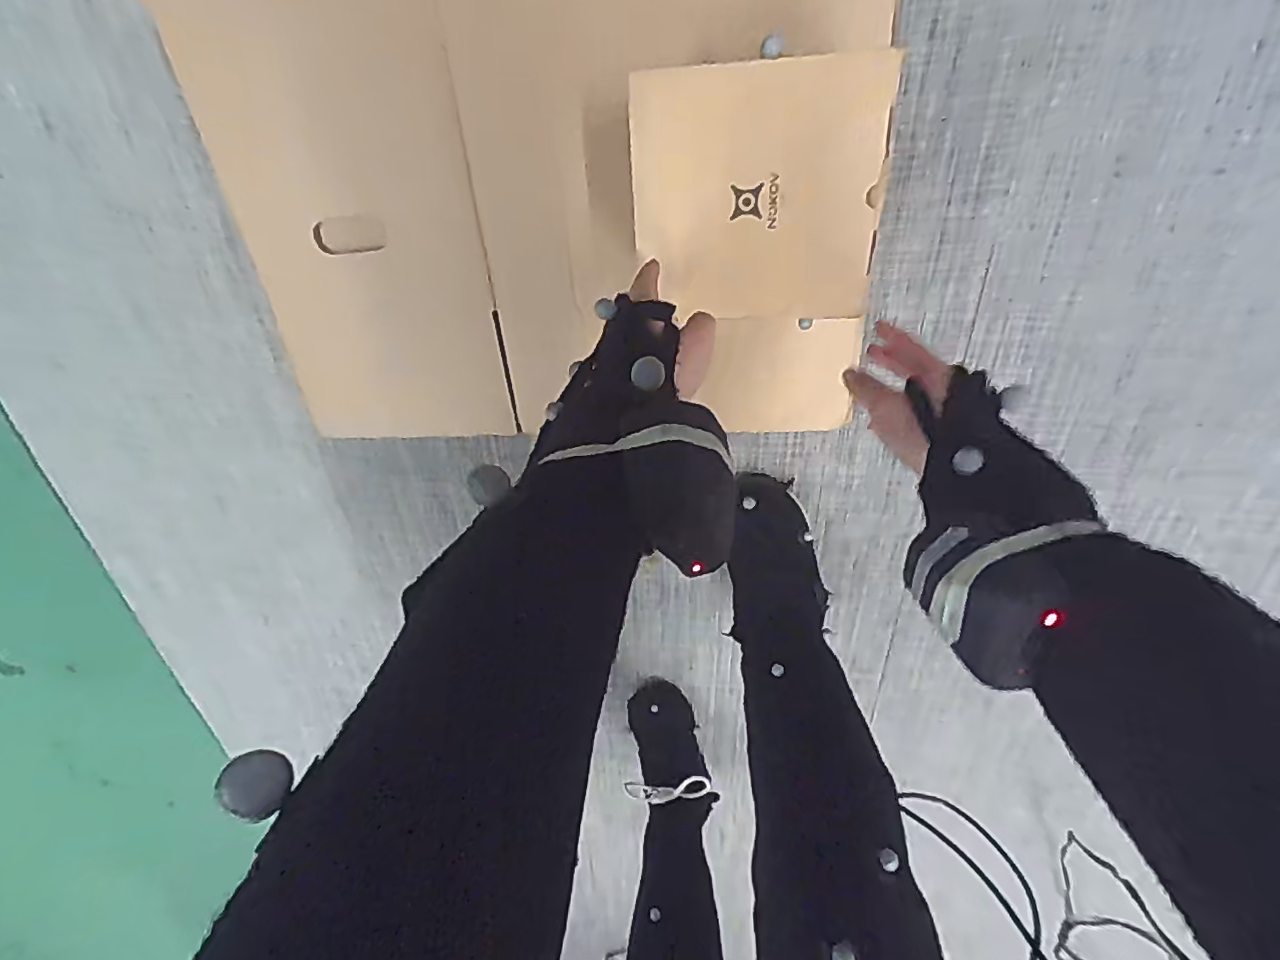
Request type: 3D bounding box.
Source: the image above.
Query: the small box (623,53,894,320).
[{"bbox_3d":[0.090,-0.235,0.457,0.179,0.176,0.168,1,118,9],"label":"small box"}]
